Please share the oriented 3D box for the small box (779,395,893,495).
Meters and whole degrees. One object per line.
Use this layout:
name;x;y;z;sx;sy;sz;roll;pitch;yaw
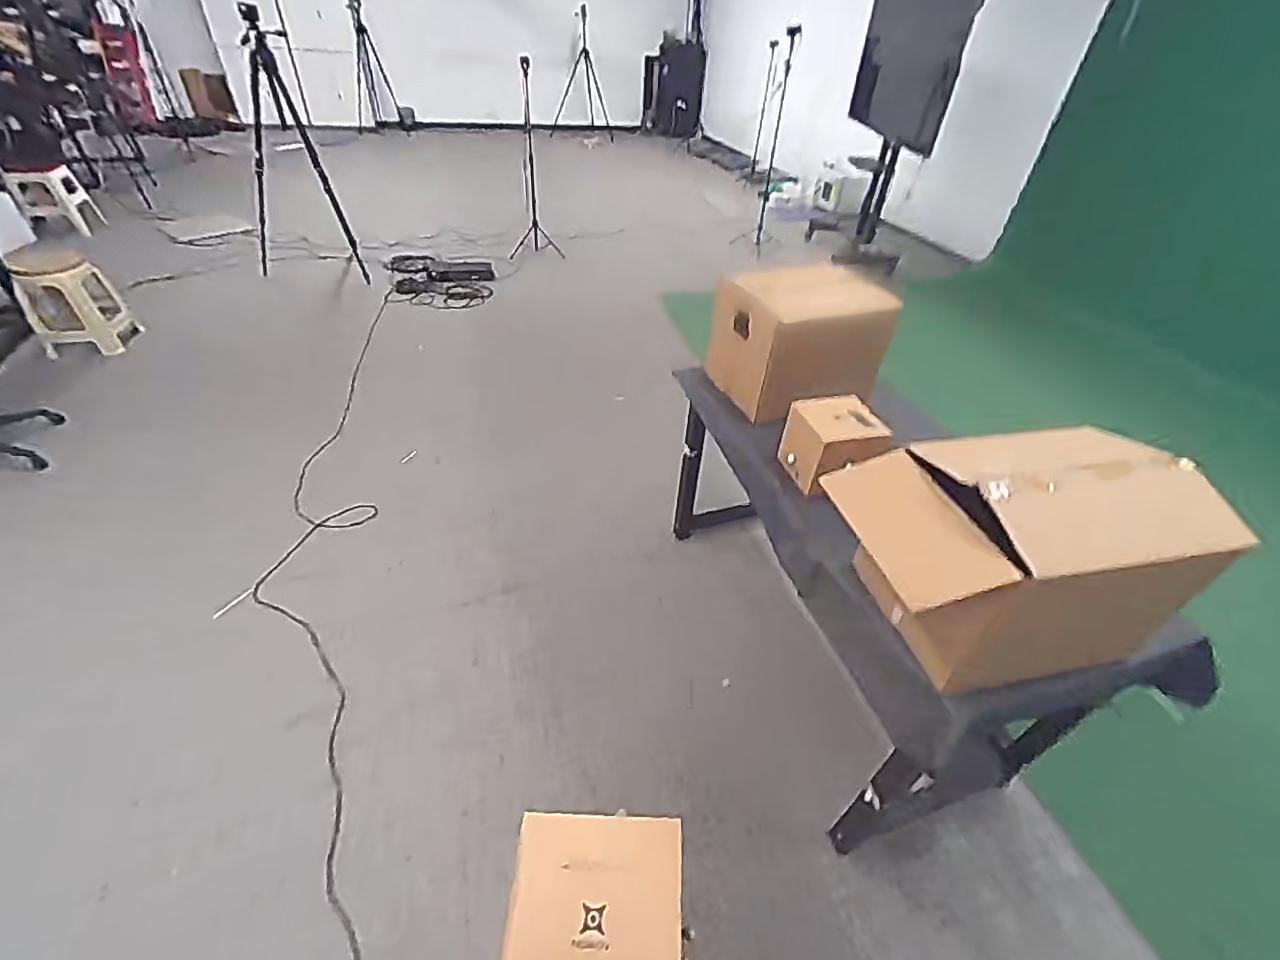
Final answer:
small box;0.458;-0.083;1.294;0.179;0.176;0.168;-8;43;-12
